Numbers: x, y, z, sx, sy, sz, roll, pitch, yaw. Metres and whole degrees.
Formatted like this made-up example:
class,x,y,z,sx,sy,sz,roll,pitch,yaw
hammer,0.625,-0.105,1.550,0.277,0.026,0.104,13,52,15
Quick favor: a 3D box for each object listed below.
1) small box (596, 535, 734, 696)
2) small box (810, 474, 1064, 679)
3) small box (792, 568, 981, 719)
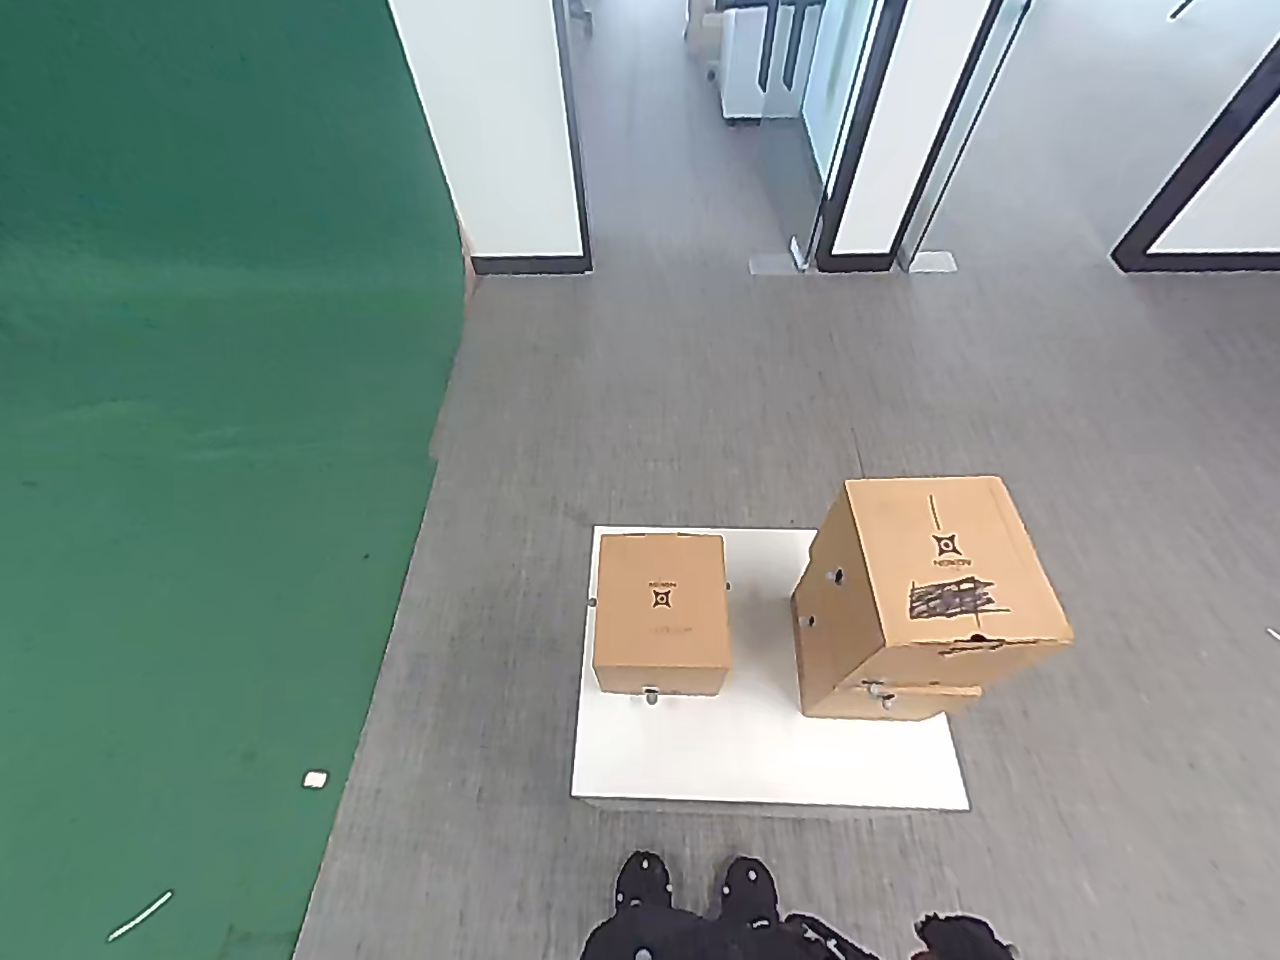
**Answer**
class,x,y,z,sx,sy,sz,roll,pitch,yaw
small box,0.032,0.190,0.748,0.168,0.176,0.179,-1,59,2
small box,0.295,0.112,0.588,0.168,0.176,0.179,-2,56,2
small box,0.308,0.207,0.722,0.168,0.176,0.179,0,57,3
